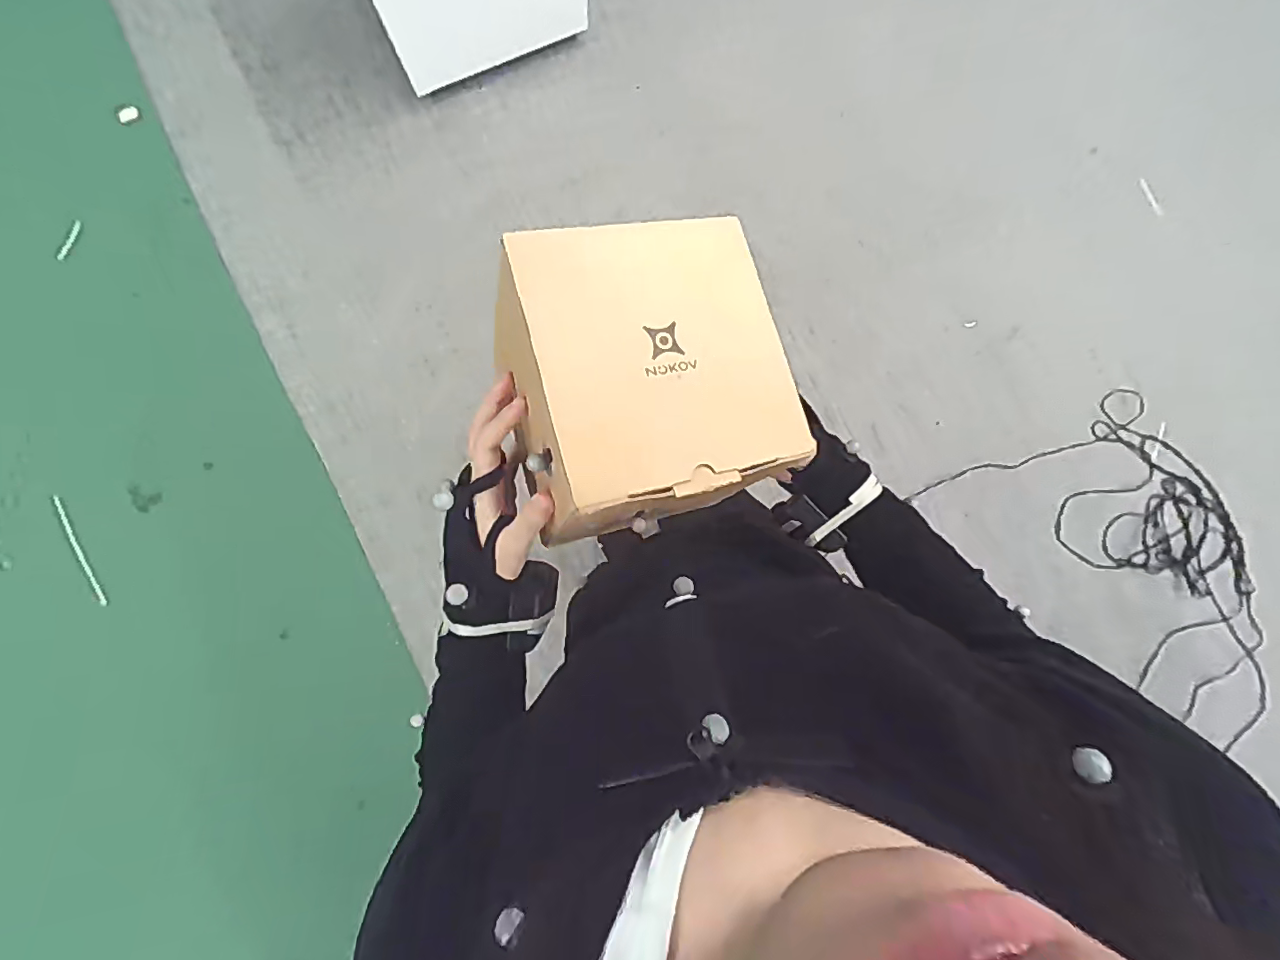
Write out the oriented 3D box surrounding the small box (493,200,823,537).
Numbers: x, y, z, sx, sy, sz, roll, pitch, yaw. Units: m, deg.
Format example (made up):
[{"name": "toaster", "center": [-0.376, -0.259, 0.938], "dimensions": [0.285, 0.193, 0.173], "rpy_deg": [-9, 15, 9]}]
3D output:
[{"name": "small box", "center": [-0.007, -0.069, 0.394], "dimensions": [0.168, 0.176, 0.179], "rpy_deg": [-13, 81, -19]}]
